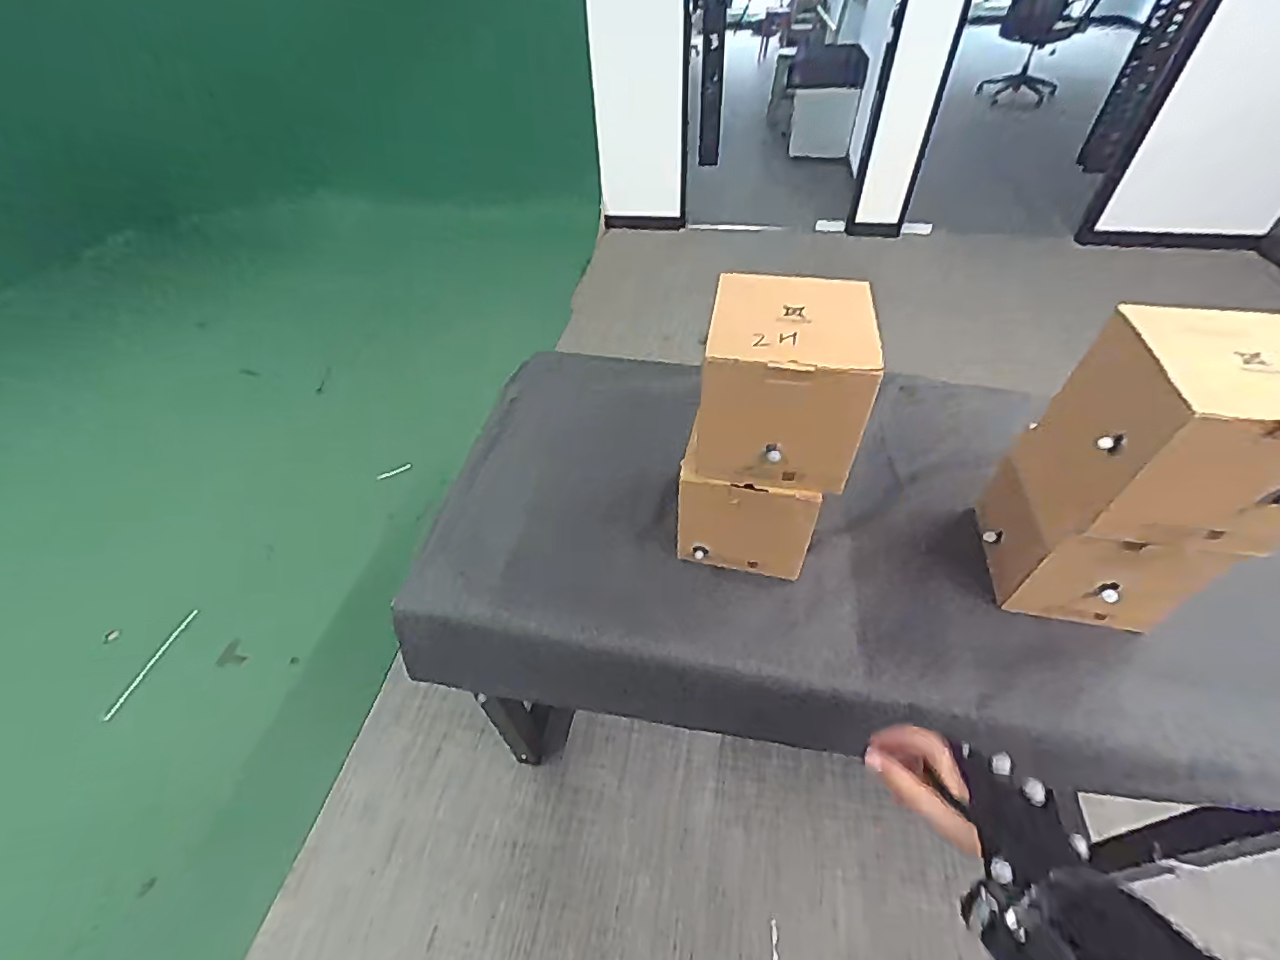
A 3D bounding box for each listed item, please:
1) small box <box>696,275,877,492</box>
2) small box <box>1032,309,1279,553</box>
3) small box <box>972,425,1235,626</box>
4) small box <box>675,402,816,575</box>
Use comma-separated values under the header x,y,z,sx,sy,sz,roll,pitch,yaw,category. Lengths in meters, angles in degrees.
x,y,z,sx,sy,sz,roll,pitch,yaw,category
0.157,-0.112,0.621,0.168,0.176,0.179,7,47,10,small box
0.542,-0.049,0.545,0.168,0.176,0.179,8,47,9,small box
0.543,0.058,0.669,0.168,0.176,0.179,8,48,10,small box
0.145,0.005,0.737,0.168,0.176,0.179,10,47,11,small box
